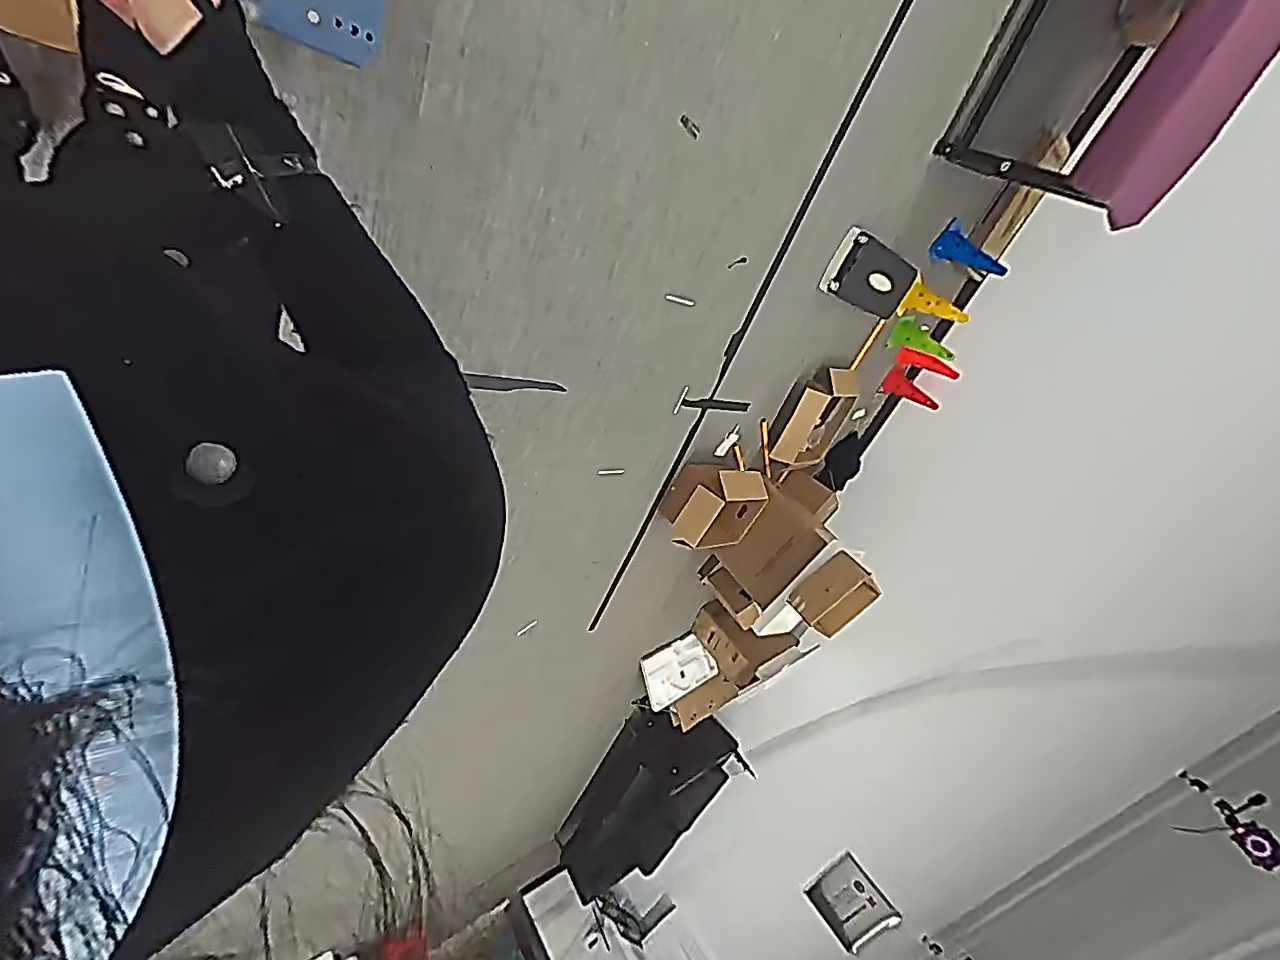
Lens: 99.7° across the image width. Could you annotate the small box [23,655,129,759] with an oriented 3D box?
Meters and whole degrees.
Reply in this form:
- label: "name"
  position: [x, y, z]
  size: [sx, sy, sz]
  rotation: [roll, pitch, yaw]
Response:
- label: "small box"
  position: [-1.547, 0.619, 1.491]
  size: [0.168, 0.176, 0.179]
  rotation: [-16, 138, -37]
